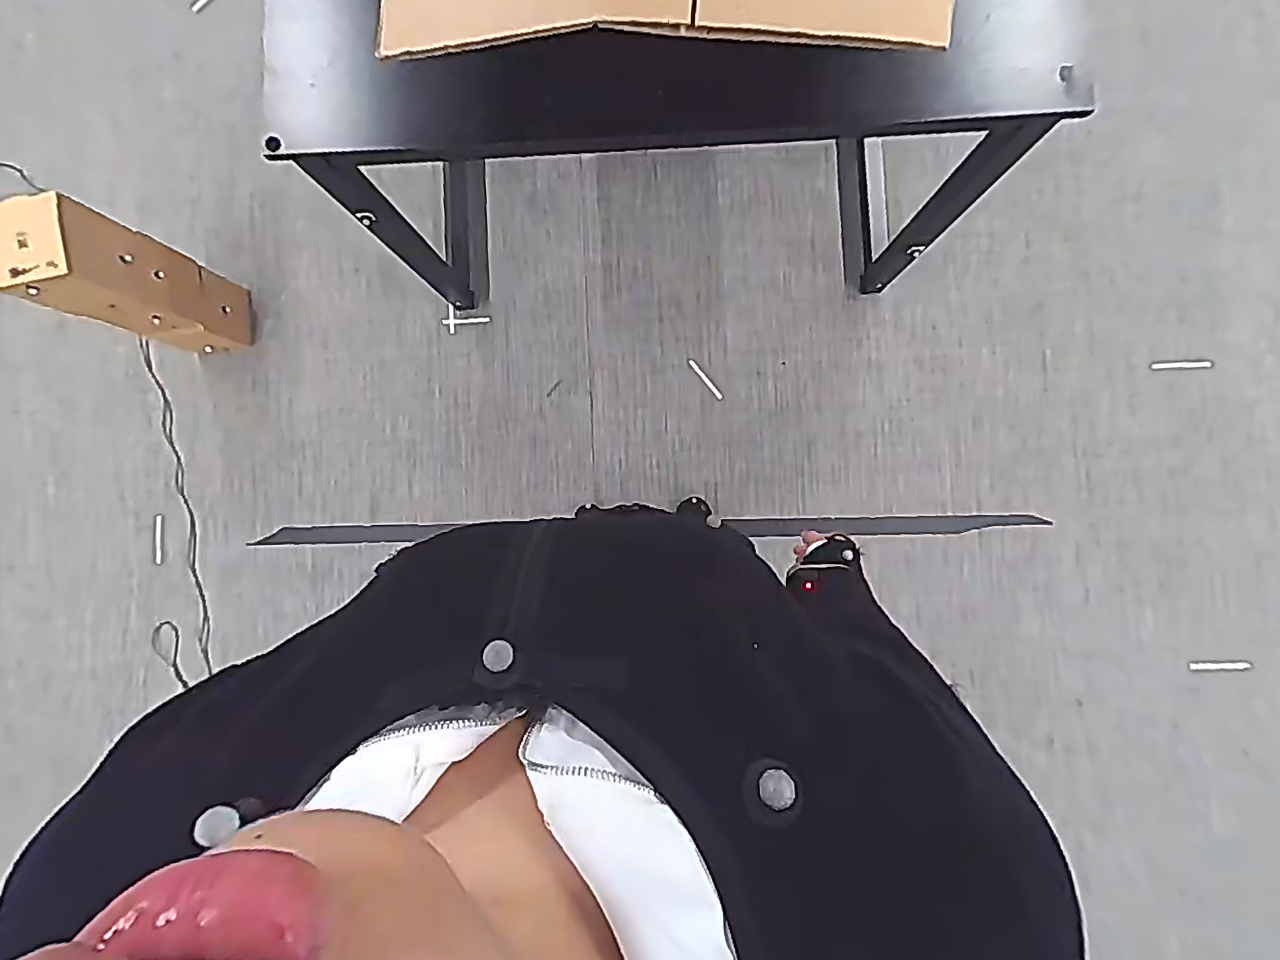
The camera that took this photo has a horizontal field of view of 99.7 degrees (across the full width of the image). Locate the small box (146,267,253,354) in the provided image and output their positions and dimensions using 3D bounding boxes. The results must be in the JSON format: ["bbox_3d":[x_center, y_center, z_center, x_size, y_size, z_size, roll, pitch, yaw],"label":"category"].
[{"bbox_3d":[-1.205,-0.461,1.486,0.168,0.176,0.179,-5,88,2],"label":"small box"}]

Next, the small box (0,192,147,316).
[{"bbox_3d":[-1.219,-0.477,1.161,0.168,0.176,0.179,-11,87,1],"label":"small box"}]

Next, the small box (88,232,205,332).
[{"bbox_3d":[-1.214,-0.474,1.325,0.168,0.176,0.179,-8,86,1],"label":"small box"}]
